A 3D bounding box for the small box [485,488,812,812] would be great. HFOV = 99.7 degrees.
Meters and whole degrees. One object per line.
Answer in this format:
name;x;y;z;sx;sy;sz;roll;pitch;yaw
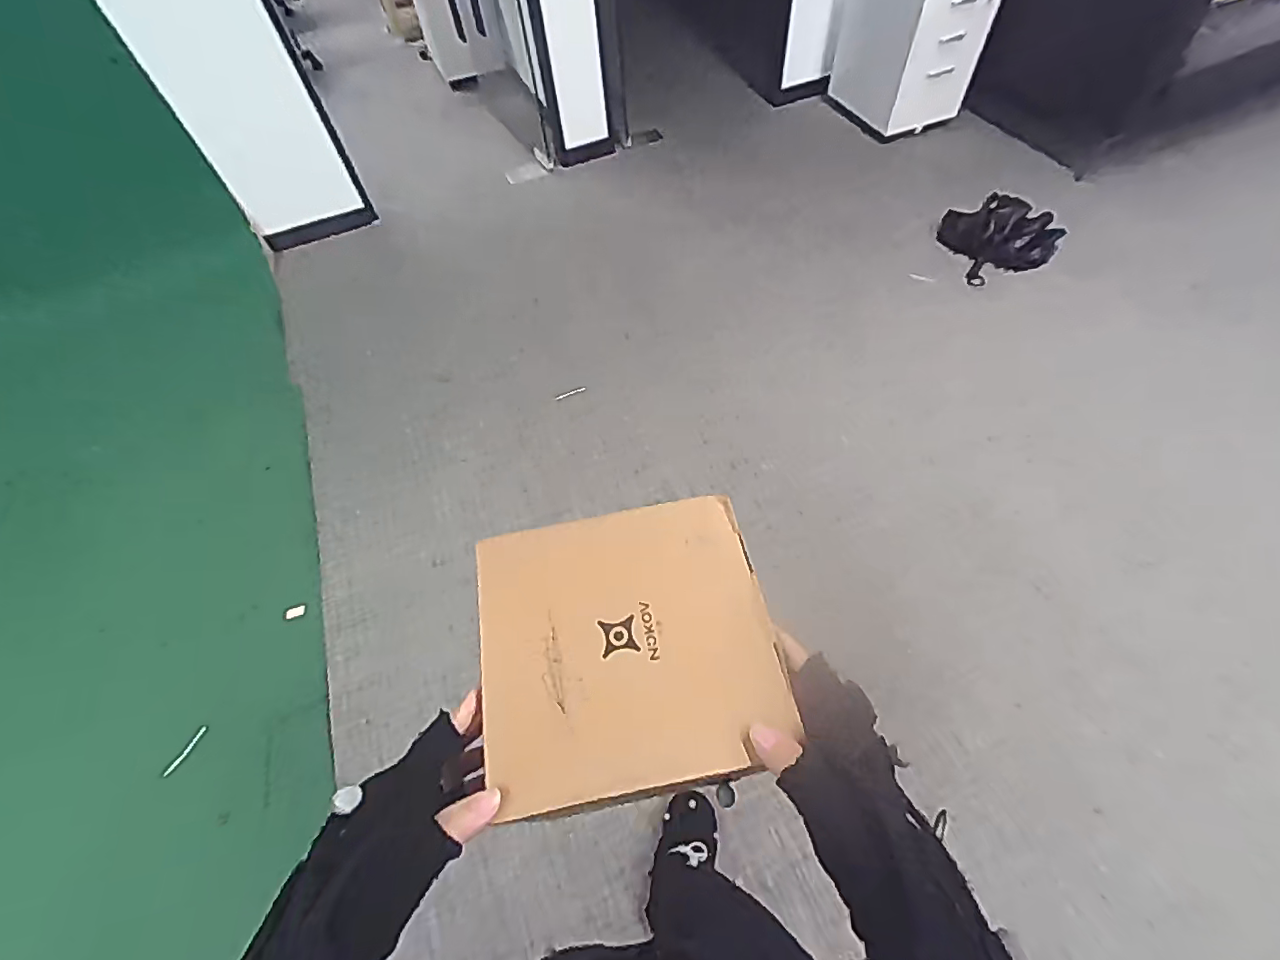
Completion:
small box;-0.001;0.130;0.398;0.179;0.176;0.168;-12;58;-3
